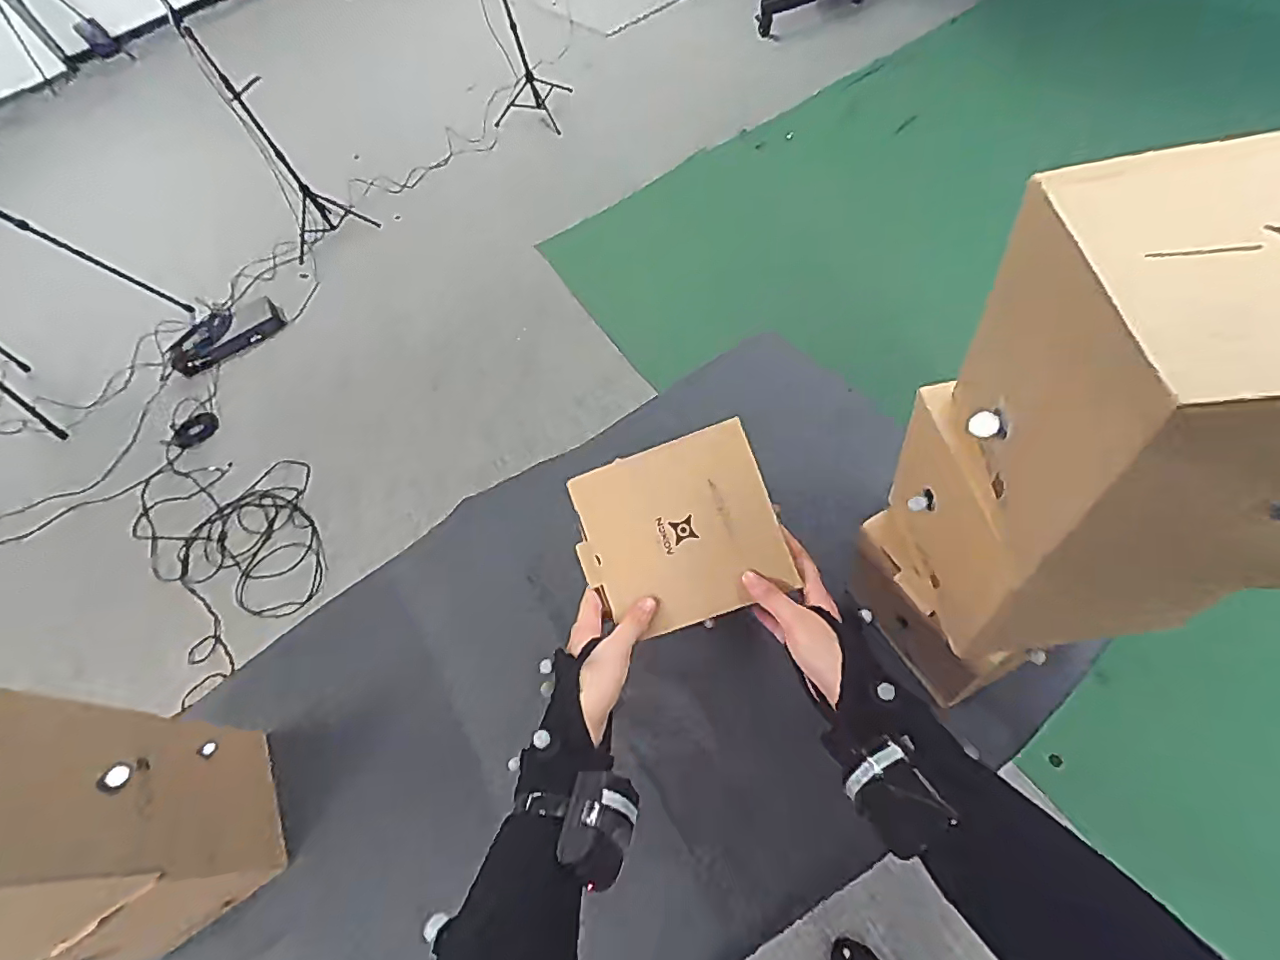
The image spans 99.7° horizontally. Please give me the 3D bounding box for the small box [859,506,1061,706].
[{"bbox_3d":[0.351,0.109,0.563,0.179,0.176,0.168,-29,54,-4],"label":"small box"}]

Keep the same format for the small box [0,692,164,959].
[{"bbox_3d":[-0.565,0.313,0.462,0.179,0.176,0.168,-33,58,-8],"label":"small box"}]

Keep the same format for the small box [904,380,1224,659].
[{"bbox_3d":[0.325,0.028,0.422,0.179,0.176,0.168,-11,54,7],"label":"small box"}]

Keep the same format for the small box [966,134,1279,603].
[{"bbox_3d":[0.299,-0.045,0.275,0.179,0.176,0.168,-3,56,14],"label":"small box"}]
